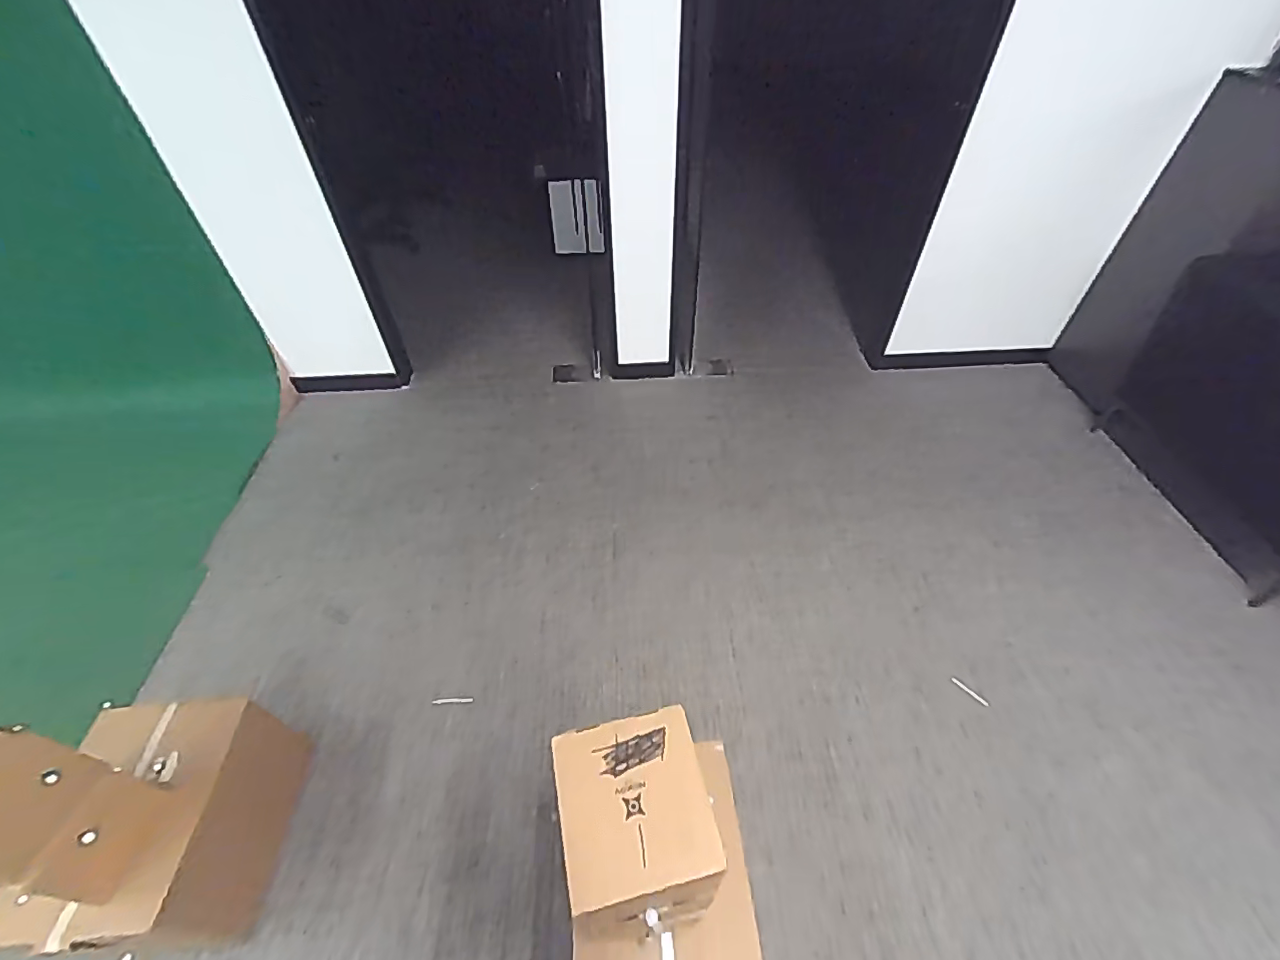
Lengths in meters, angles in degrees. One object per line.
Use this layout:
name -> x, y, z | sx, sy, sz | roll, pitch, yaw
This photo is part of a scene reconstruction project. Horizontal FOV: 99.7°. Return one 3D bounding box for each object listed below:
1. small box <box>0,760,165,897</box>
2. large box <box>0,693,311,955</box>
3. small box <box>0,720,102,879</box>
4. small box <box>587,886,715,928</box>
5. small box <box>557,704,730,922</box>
small box -> -0.992, 0.599, 0.941 | 0.168, 0.176, 0.179 | 4, 48, 5
large box -> -0.987, 0.726, 1.154 | 0.320, 0.320, 0.408 | -3, 46, -2
small box -> -1.000, 0.482, 0.828 | 0.168, 0.176, 0.179 | 6, 49, 8
small box -> 0.003, 0.519, 0.781 | 0.168, 0.176, 0.179 | -10, 49, -7
small box -> -0.002, 0.405, 0.660 | 0.168, 0.176, 0.179 | -11, 49, -7
